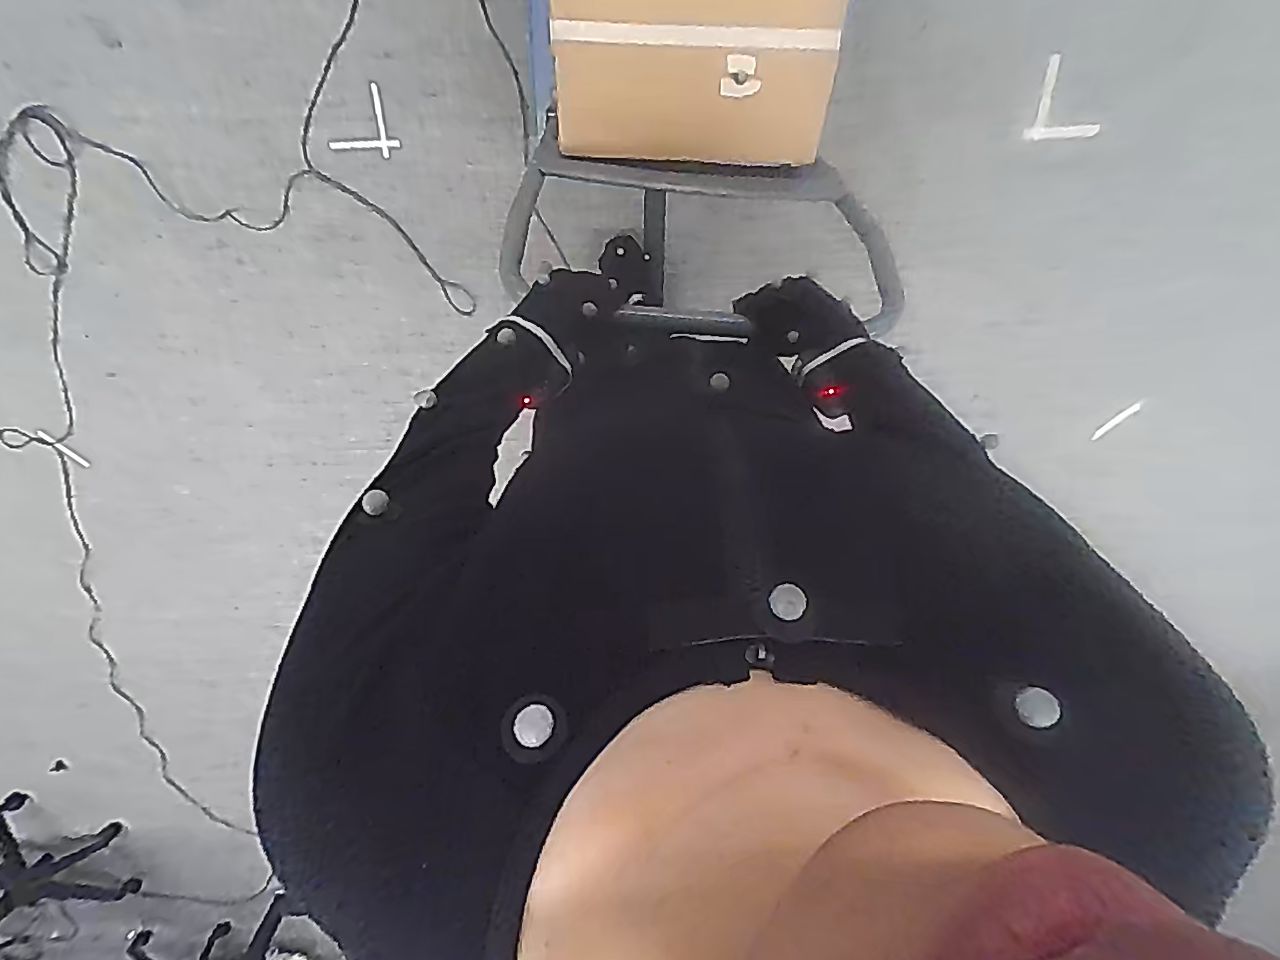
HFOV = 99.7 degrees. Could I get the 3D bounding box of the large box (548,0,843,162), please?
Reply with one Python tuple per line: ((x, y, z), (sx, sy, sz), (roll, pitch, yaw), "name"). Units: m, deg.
((0.071, -0.717, 0.859), (0.408, 0.320, 0.320), (0, 133, -2), "large box")
